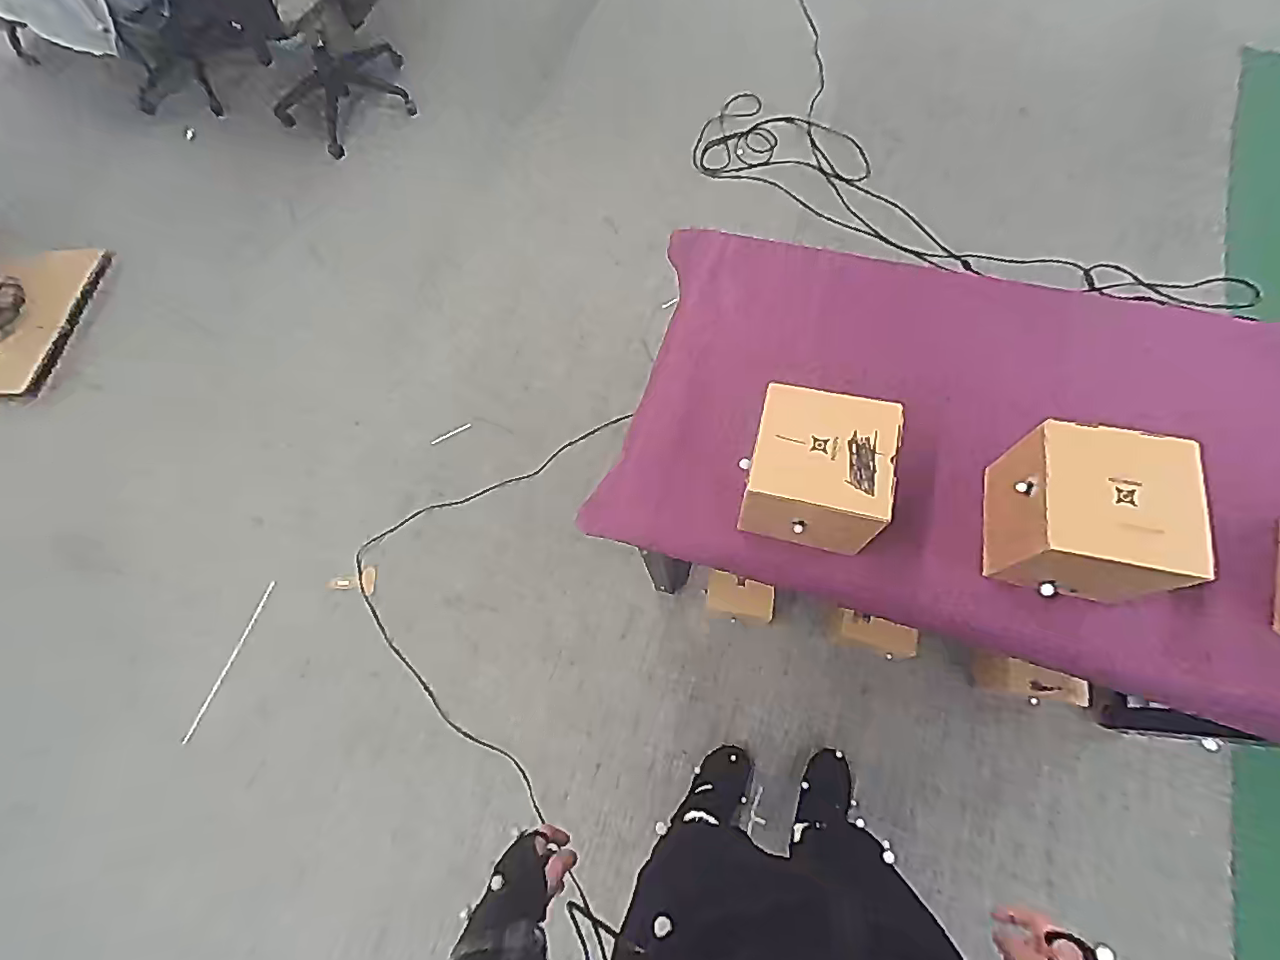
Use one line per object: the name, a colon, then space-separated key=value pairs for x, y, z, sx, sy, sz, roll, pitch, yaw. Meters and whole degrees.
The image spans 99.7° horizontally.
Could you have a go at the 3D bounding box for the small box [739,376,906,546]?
small box: x=0.245 y=-0.018 z=0.756 sx=0.179 sy=0.176 sz=0.168 roll=12 pitch=69 yaw=12

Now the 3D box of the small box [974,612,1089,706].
small box: x=0.923 y=0.430 z=1.291 sx=0.168 sy=0.176 sz=0.179 roll=10 pitch=70 yaw=10

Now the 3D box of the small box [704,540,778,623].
small box: x=0.263 y=0.273 z=1.425 sx=0.168 sy=0.176 sz=0.179 roll=8 pitch=70 yaw=9

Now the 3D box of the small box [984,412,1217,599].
small box: x=0.573 y=0.039 z=0.700 sx=0.168 sy=0.176 sz=0.179 roll=12 pitch=70 yaw=11
